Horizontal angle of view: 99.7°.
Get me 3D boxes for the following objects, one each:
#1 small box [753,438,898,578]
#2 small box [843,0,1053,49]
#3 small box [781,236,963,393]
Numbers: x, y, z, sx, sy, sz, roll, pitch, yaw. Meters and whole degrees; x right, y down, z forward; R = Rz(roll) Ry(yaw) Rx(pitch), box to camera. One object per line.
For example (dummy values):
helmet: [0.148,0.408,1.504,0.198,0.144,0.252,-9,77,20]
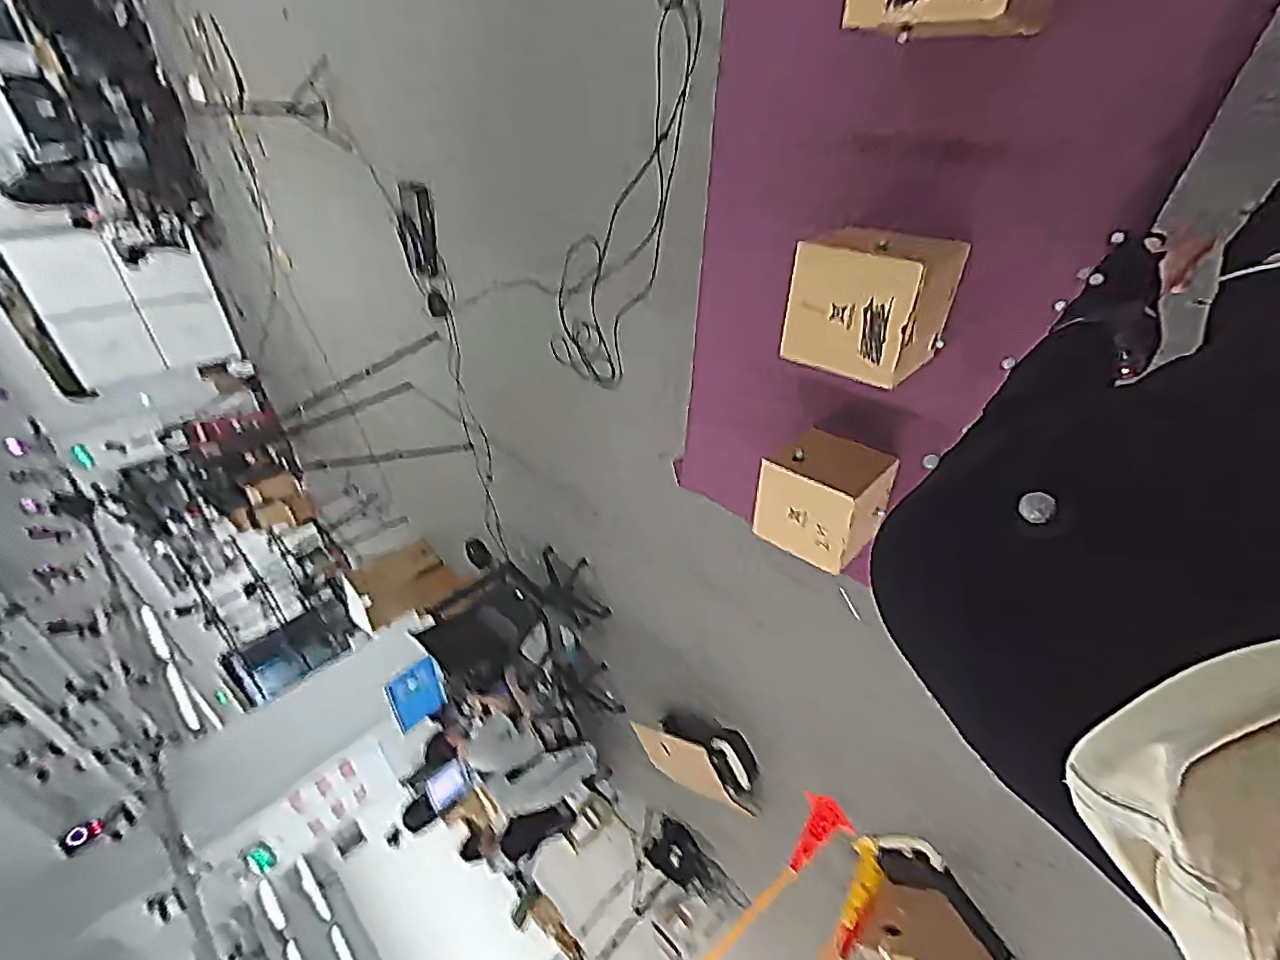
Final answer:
small box: [0.332,0.039,0.980,0.179,0.176,0.168,27,132,35]
small box: [0.345,-0.571,0.565,0.168,0.176,0.179,30,134,33]
small box: [0.335,-0.251,0.788,0.179,0.176,0.168,29,133,35]
